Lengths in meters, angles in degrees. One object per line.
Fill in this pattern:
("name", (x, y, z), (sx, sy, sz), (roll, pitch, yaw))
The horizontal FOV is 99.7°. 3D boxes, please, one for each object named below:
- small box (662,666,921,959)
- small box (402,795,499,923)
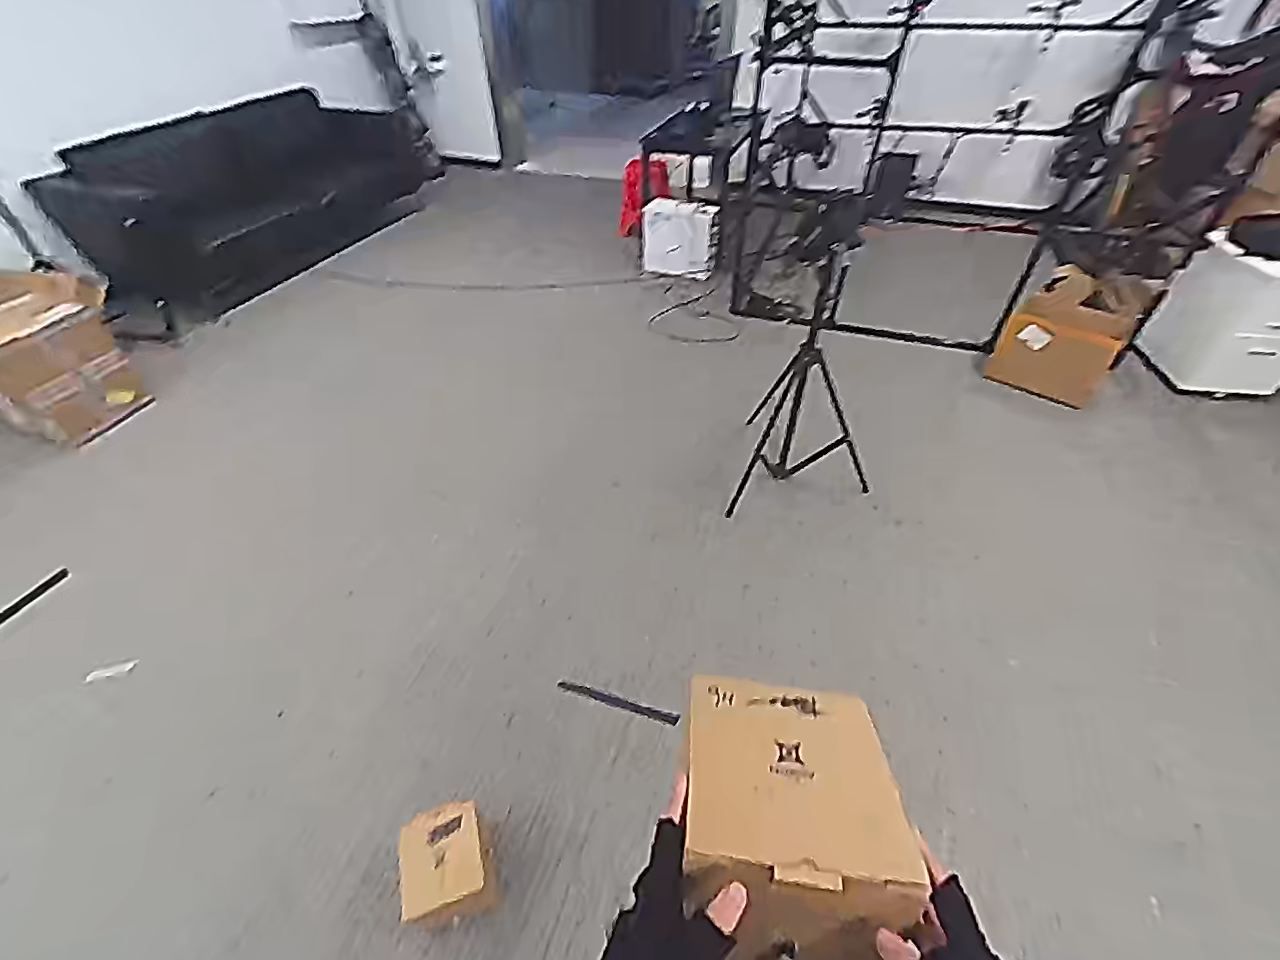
("small box", (0.110, 0.295, 0.470), (0.168, 0.176, 0.179), (6, 25, 3))
("small box", (-0.422, 0.849, 1.211), (0.168, 0.176, 0.179), (-14, 46, -14))
